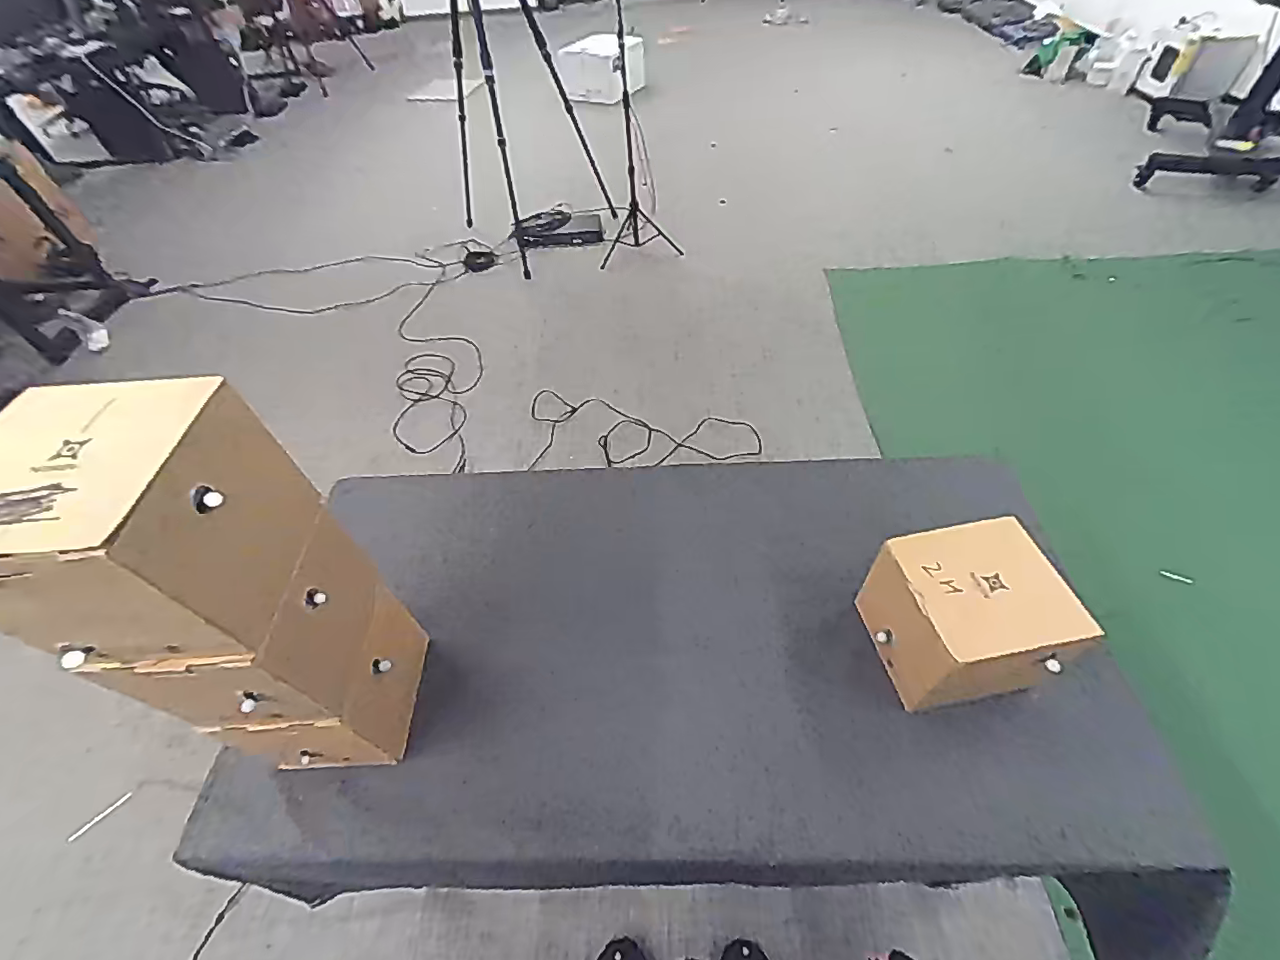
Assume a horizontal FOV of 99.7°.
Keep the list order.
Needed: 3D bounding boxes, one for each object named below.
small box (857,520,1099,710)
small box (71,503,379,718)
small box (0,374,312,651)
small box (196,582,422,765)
[{"bbox_3d":[0.409,0.176,0.695,0.179,0.176,0.168,-10,50,-3],"label":"small box"},{"bbox_3d":[-0.409,0.145,0.579,0.168,0.176,0.179,-2,50,1],"label":"small box"},{"bbox_3d":[-0.418,0.034,0.458,0.168,0.176,0.179,-3,50,0],"label":"small box"},{"bbox_3d":[-0.403,0.252,0.701,0.168,0.176,0.179,-3,50,1],"label":"small box"}]
